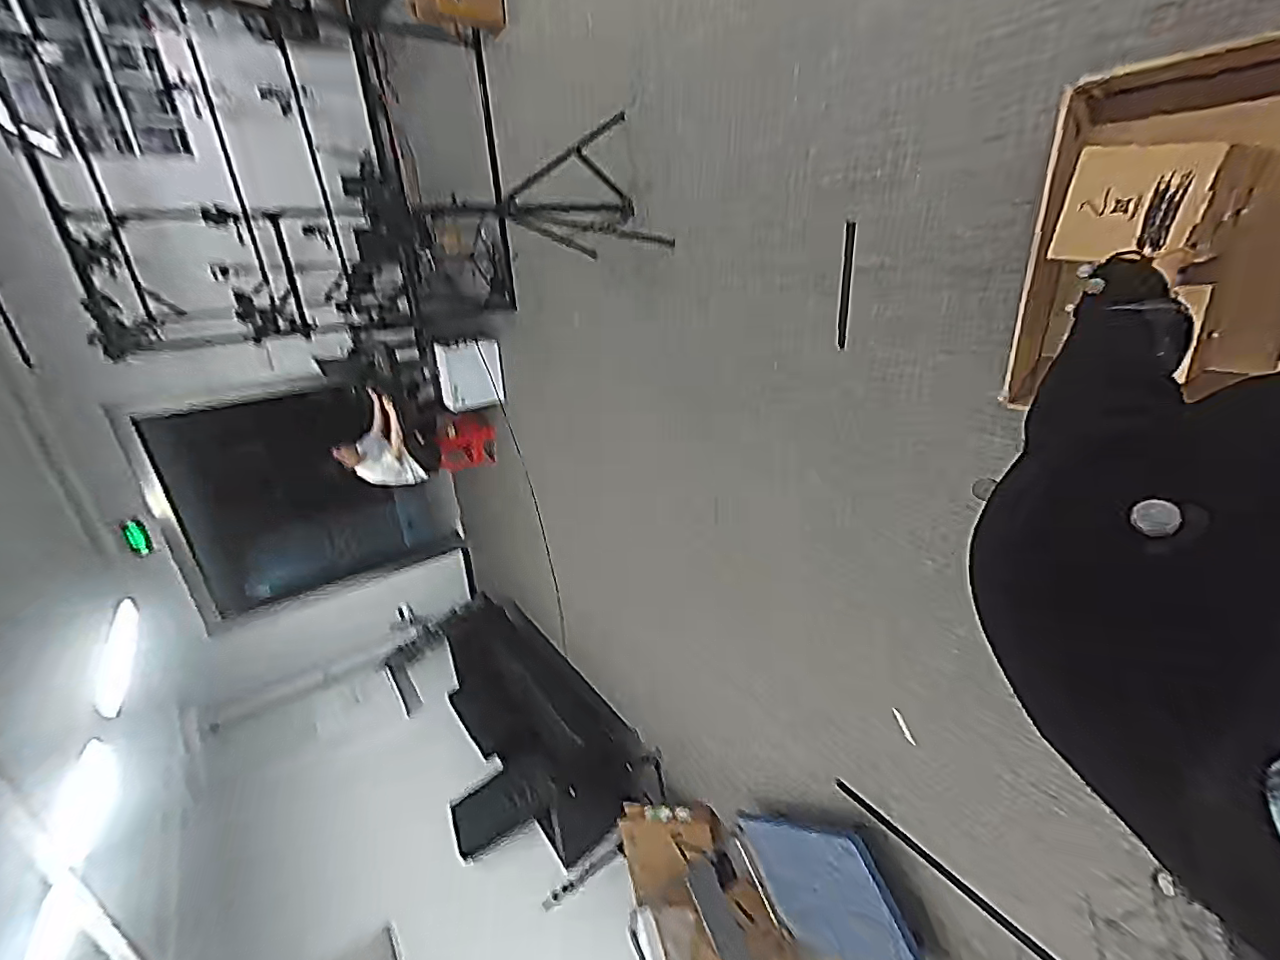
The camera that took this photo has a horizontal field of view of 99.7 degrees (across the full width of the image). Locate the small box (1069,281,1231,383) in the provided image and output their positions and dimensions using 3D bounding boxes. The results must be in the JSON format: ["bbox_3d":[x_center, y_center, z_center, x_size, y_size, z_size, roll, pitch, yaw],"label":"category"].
[{"bbox_3d":[0.967,-0.287,1.026,0.179,0.176,0.168,23,122,50],"label":"small box"}]

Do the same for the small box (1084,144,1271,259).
[{"bbox_3d":[0.946,-0.492,0.958,0.179,0.176,0.168,30,132,45],"label":"small box"}]
